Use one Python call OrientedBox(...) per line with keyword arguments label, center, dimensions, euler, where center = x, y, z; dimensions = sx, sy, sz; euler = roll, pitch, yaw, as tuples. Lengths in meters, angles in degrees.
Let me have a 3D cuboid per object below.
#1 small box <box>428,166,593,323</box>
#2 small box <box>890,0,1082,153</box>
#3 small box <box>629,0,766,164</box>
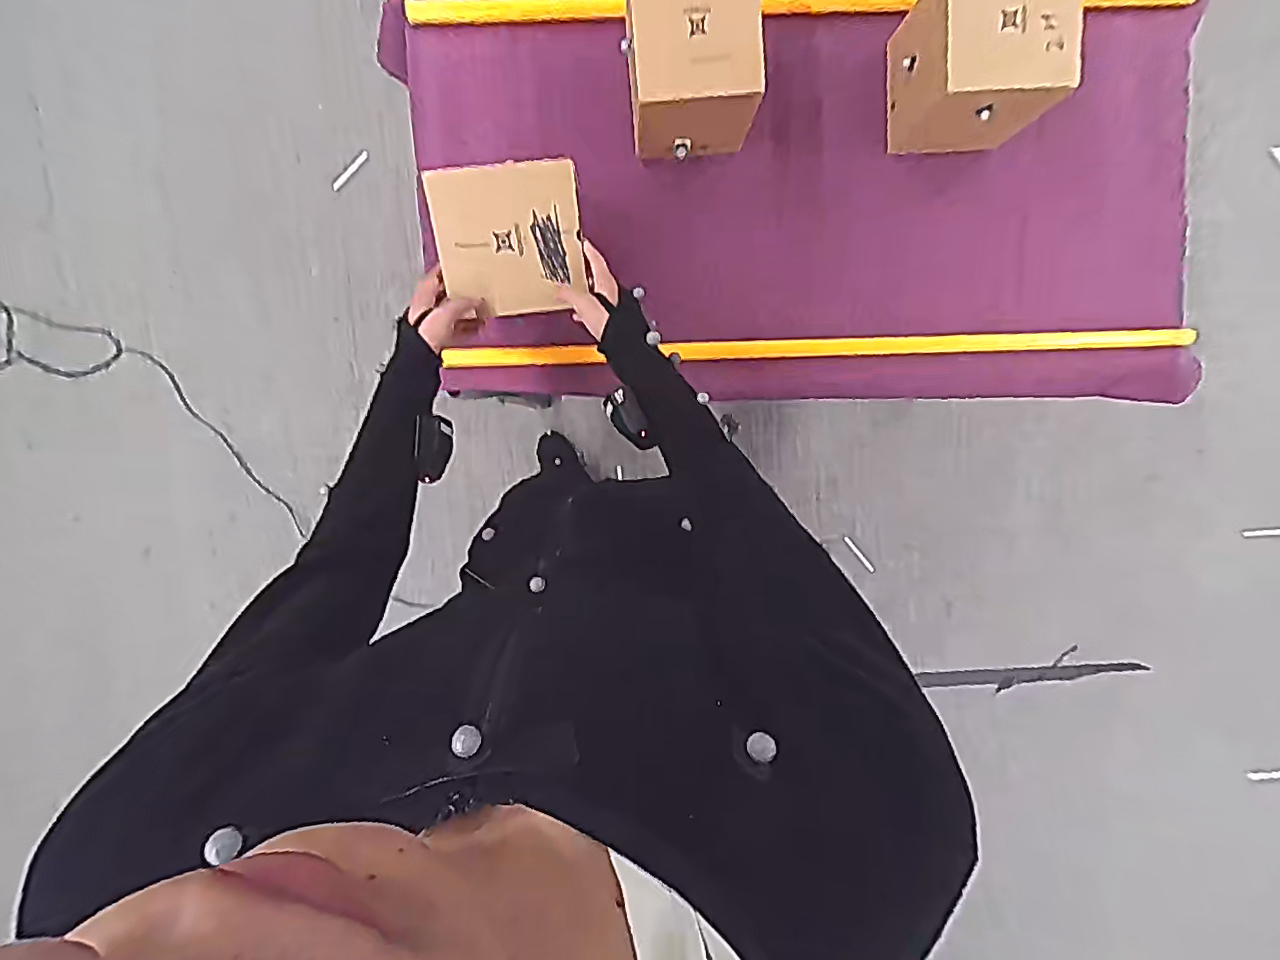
OrientedBox(label="small box", center=(-0.163, -0.306, 0.725), dimensions=(0.179, 0.176, 0.168), euler=(-8, 108, -5))
OrientedBox(label="small box", center=(0.474, -0.589, 0.766), dimensions=(0.179, 0.176, 0.168), euler=(-3, 97, -1))
OrientedBox(label="small box", center=(0.072, -0.580, 0.761), dimensions=(0.168, 0.176, 0.179), euler=(-5, 96, 0))
